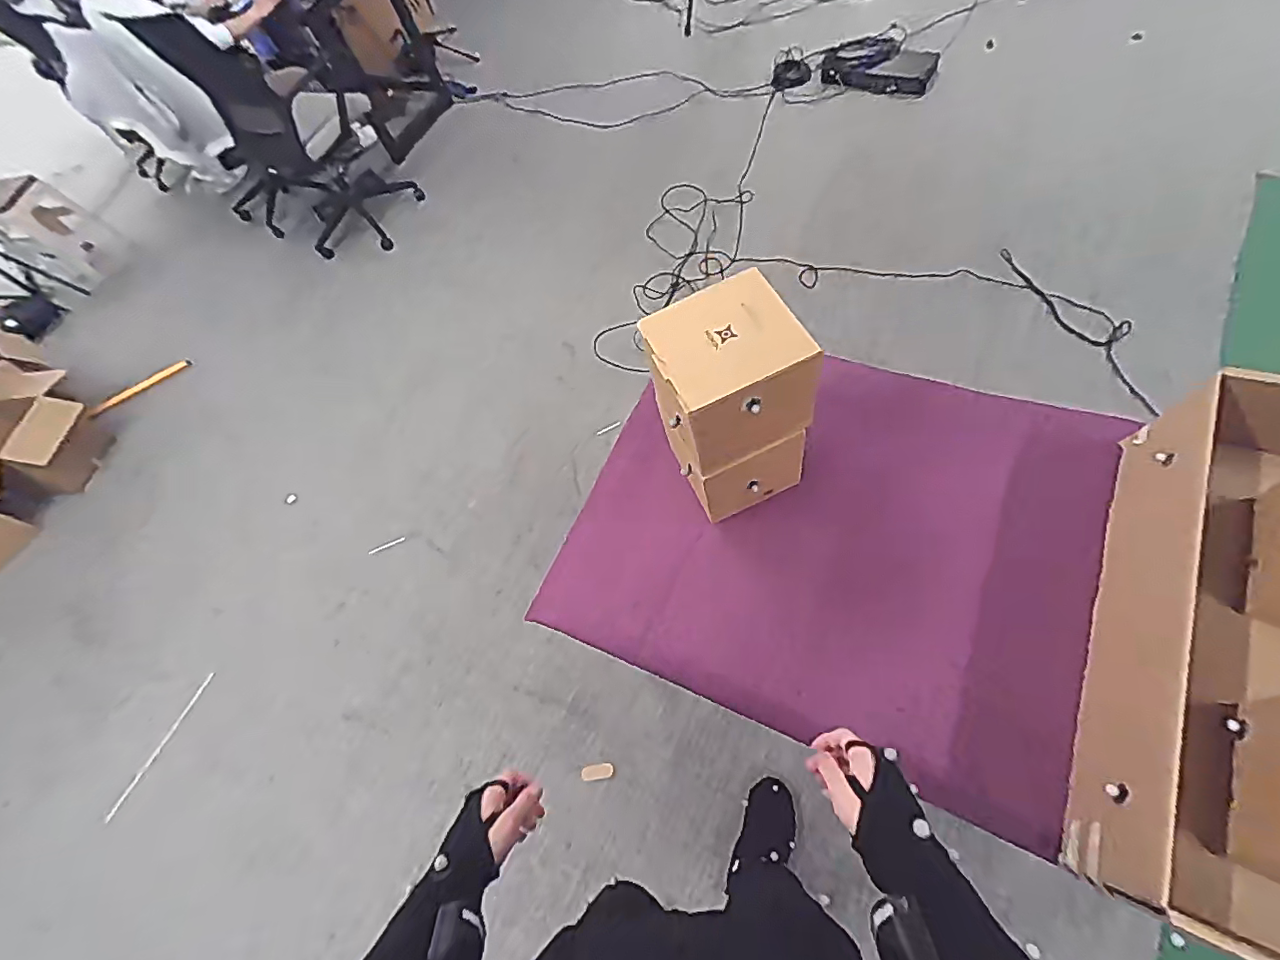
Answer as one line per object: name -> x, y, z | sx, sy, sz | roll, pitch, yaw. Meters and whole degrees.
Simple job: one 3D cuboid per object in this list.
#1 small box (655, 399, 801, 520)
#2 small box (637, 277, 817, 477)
small box -> 0.143, -0.054, 0.877 | 0.168, 0.176, 0.179 | -25, 60, -1
small box -> 0.117, -0.130, 0.736 | 0.179, 0.176, 0.168 | -25, 61, -1
